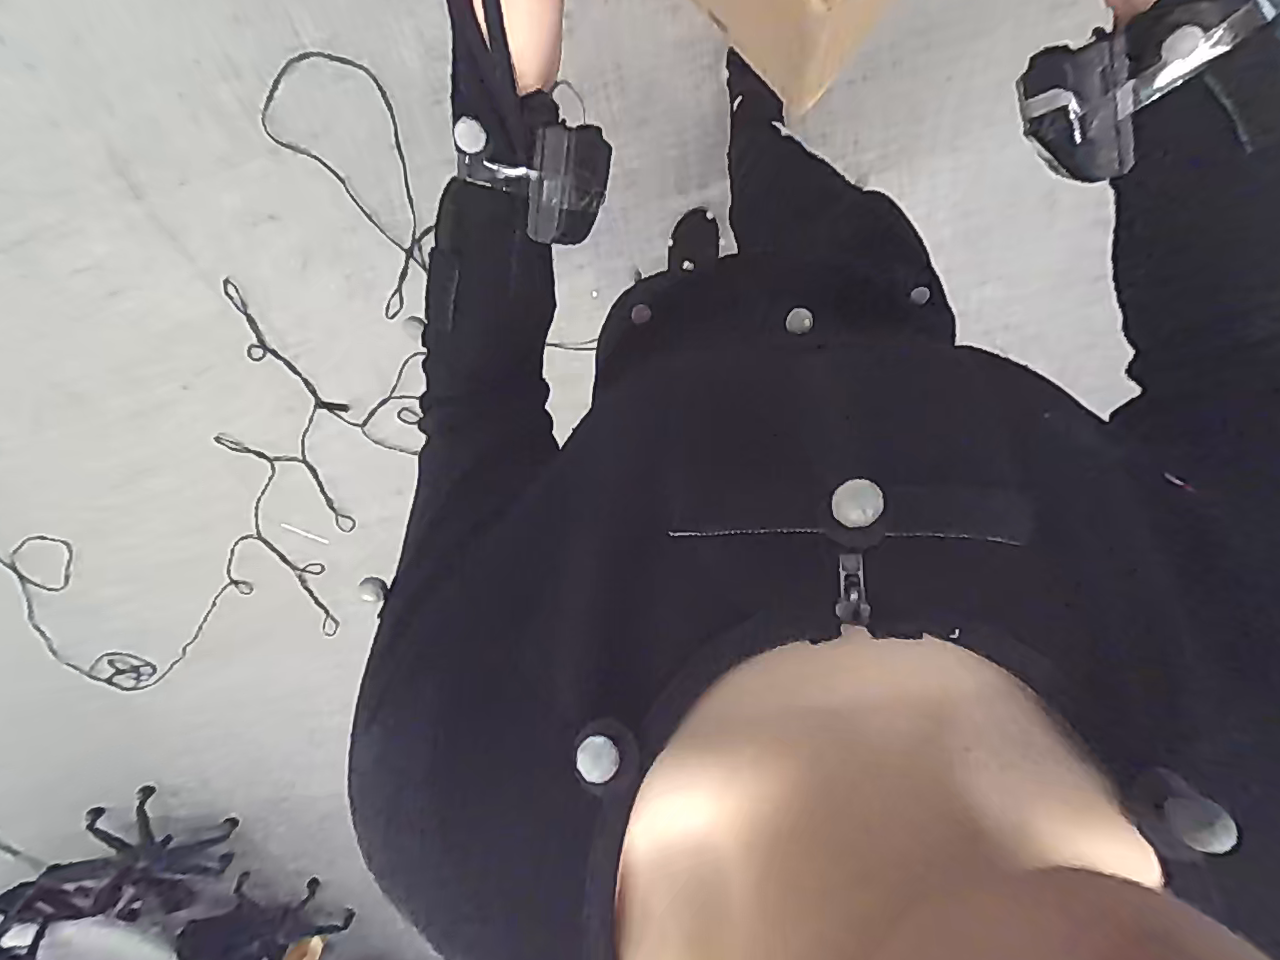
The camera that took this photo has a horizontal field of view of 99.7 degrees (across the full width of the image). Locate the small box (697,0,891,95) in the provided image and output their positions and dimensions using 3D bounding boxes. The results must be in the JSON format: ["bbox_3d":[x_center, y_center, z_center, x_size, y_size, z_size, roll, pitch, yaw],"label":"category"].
[{"bbox_3d":[0.063,-0.280,0.185,0.168,0.176,0.179,41,117,-7],"label":"small box"}]
